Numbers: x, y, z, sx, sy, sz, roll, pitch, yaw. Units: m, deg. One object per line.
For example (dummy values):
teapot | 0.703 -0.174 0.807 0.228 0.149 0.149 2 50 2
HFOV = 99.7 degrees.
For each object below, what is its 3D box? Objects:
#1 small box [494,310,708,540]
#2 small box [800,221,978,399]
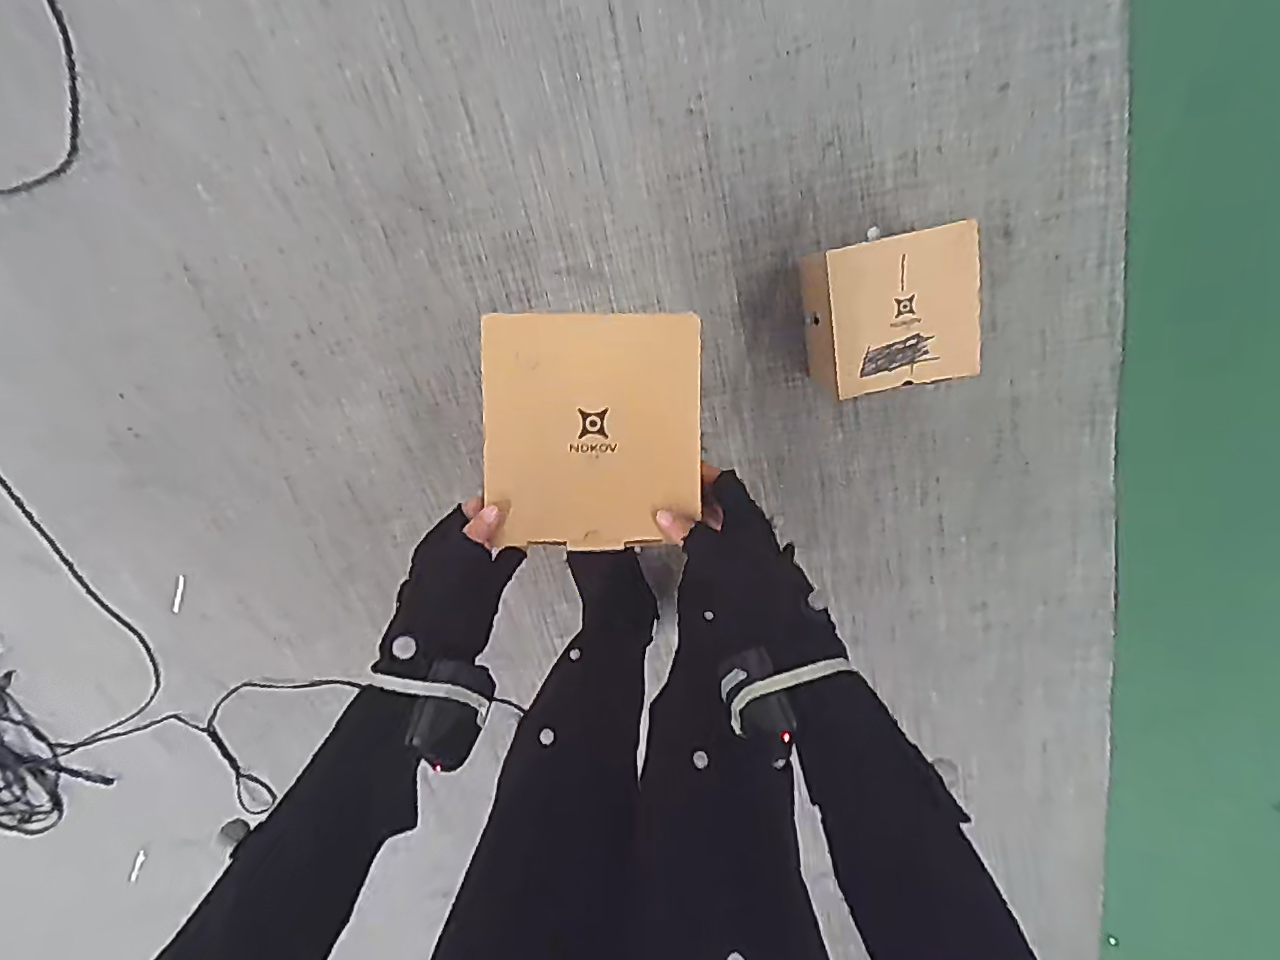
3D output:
small box | -0.034 -0.044 0.491 0.168 0.176 0.179 -1 93 -3
small box | 0.313 -0.218 0.704 0.168 0.176 0.179 -10 107 8
